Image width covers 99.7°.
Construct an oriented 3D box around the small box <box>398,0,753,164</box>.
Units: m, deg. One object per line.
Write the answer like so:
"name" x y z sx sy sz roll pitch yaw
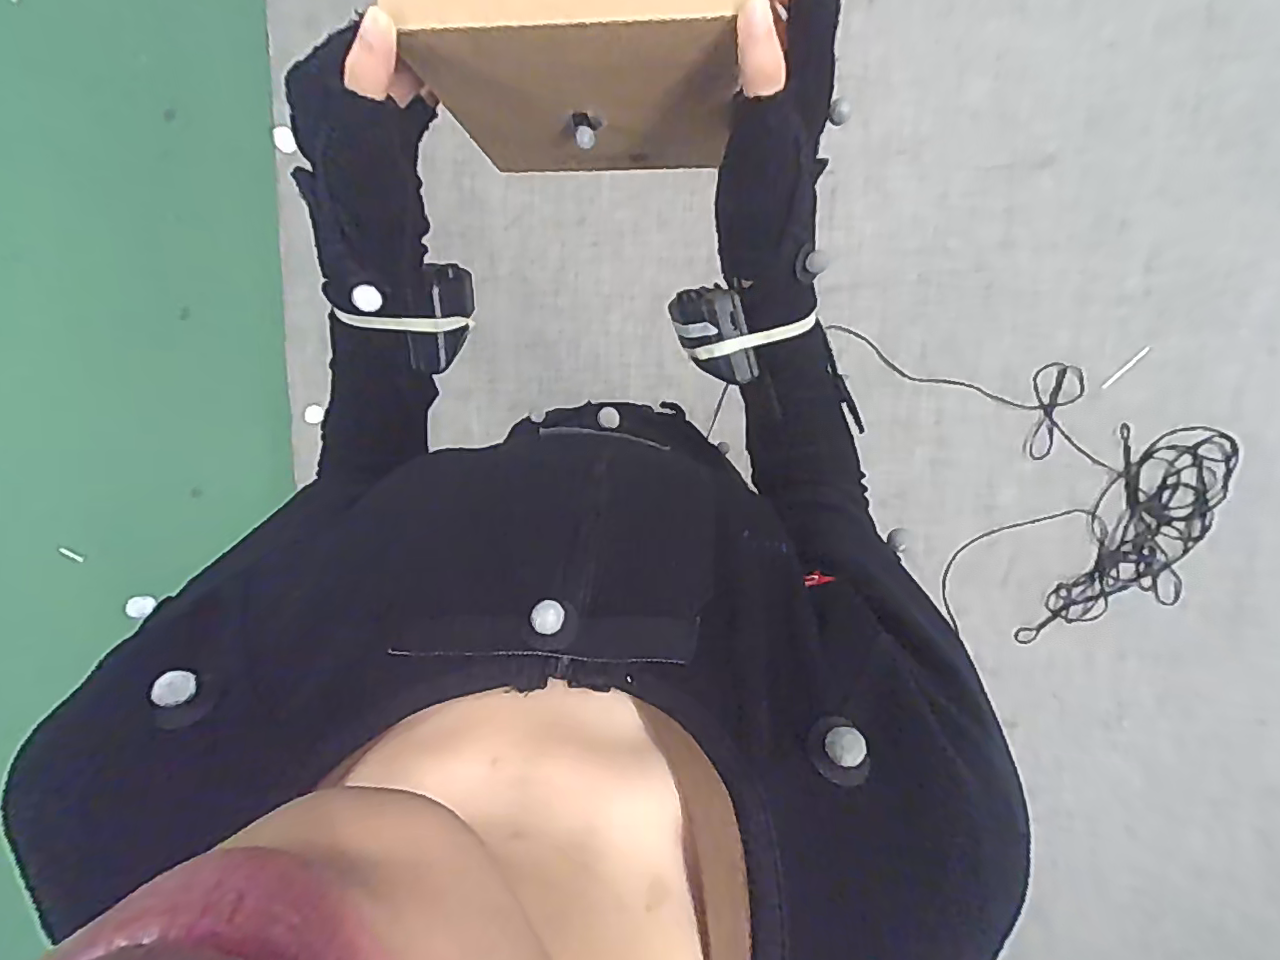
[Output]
"small box" -0.025 -0.300 0.308 0.168 0.176 0.179 0 100 3
